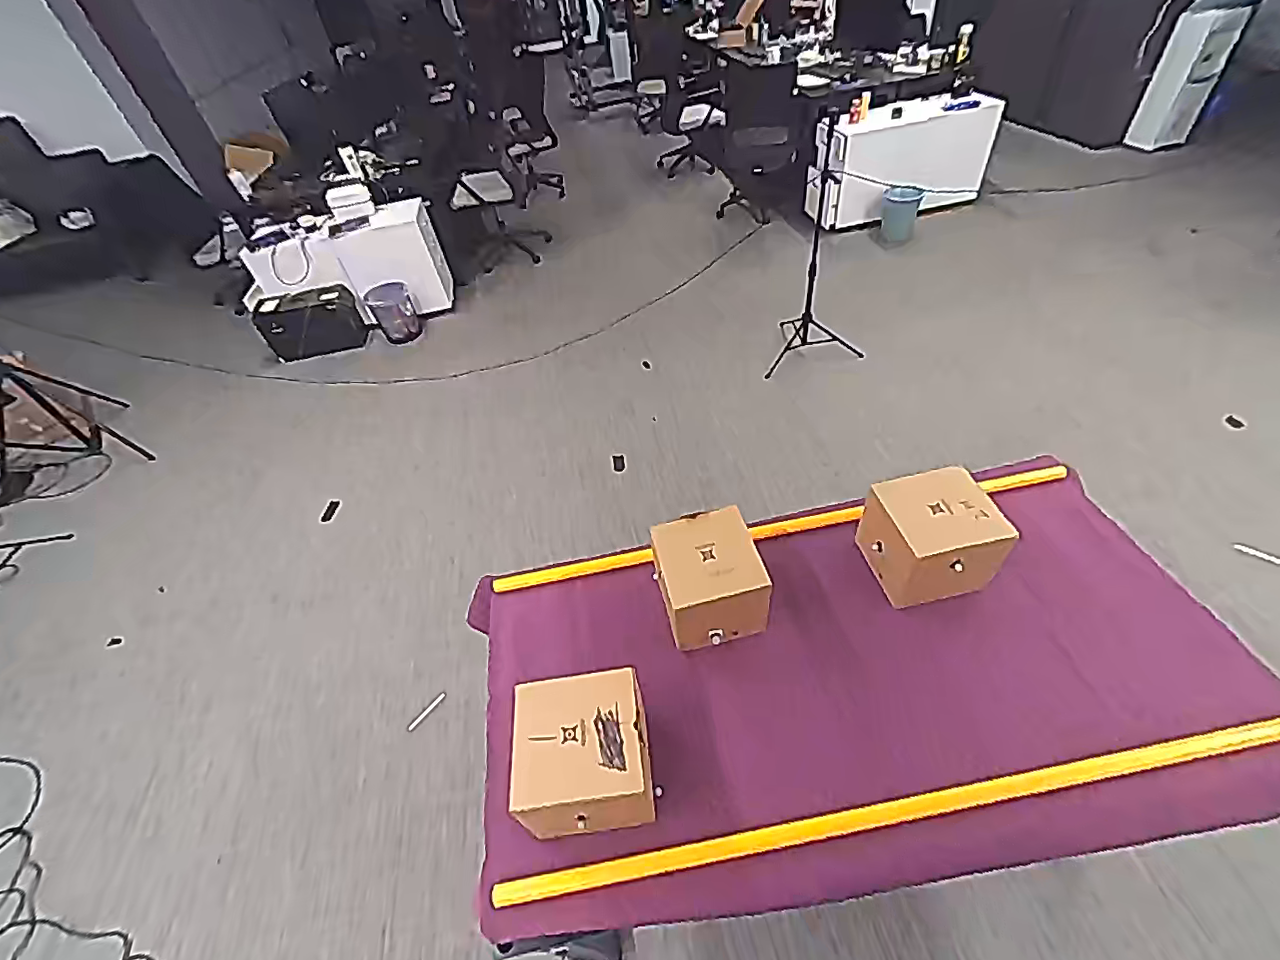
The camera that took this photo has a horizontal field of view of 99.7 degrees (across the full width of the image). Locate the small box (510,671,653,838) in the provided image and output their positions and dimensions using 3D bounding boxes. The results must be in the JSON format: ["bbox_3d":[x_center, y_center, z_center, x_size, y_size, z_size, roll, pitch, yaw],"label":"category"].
[{"bbox_3d":[-0.077,0.401,0.785,0.179,0.176,0.168,-9,46,0],"label":"small box"}]

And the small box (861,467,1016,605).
[{"bbox_3d":[0.516,0.105,0.973,0.179,0.176,0.168,-12,47,-2],"label":"small box"}]

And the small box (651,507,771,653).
[{"bbox_3d":[0.122,0.180,0.969,0.168,0.176,0.179,-14,47,-3],"label":"small box"}]
